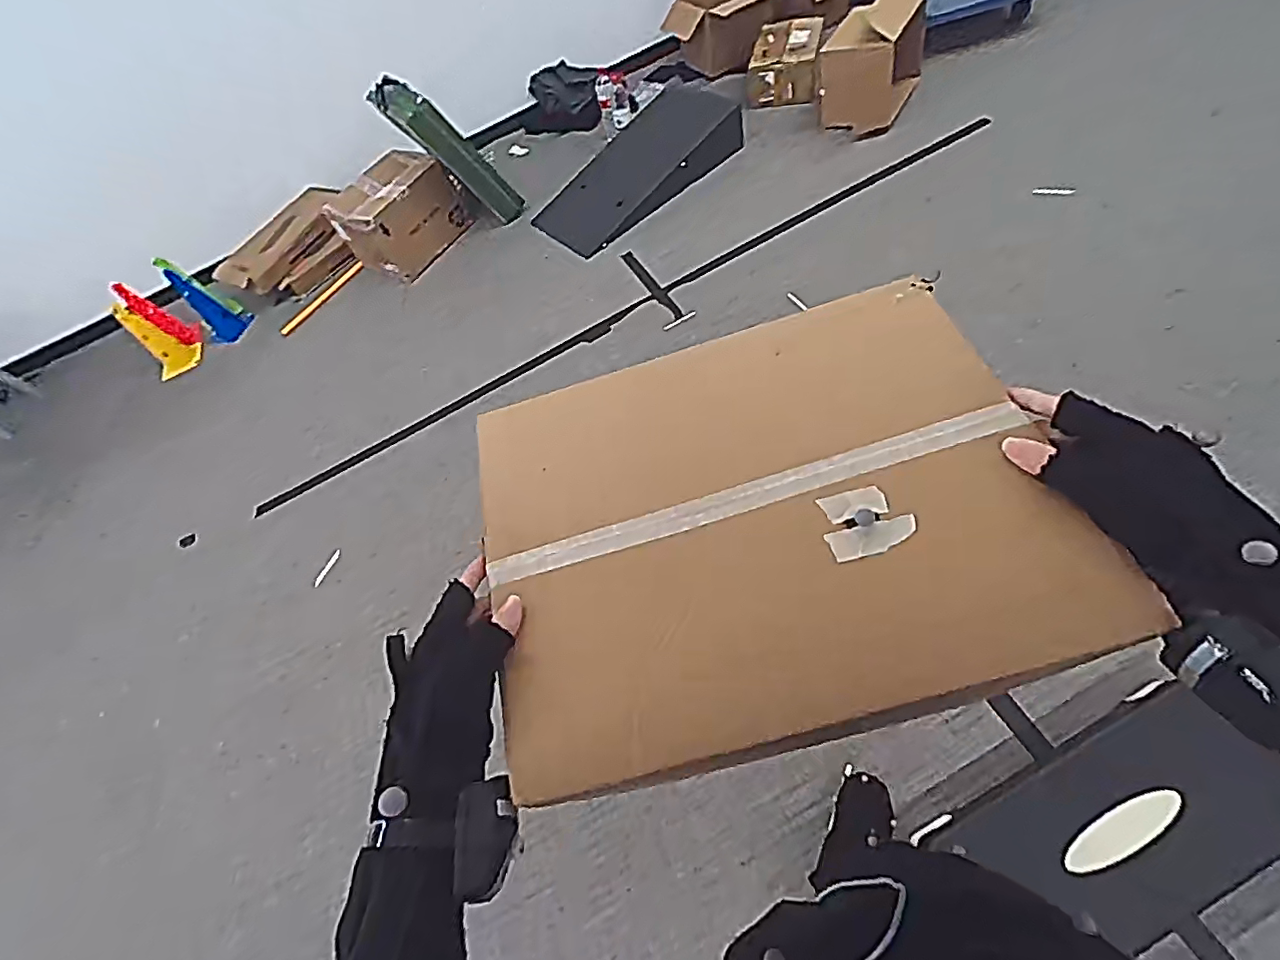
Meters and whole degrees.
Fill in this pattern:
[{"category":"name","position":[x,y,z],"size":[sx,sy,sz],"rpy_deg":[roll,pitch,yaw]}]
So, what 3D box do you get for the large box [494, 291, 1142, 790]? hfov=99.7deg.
[{"category":"large box","position":[0.114,0.086,0.542],"size":[0.408,0.320,0.320],"rpy_deg":[-17,60,3]}]
